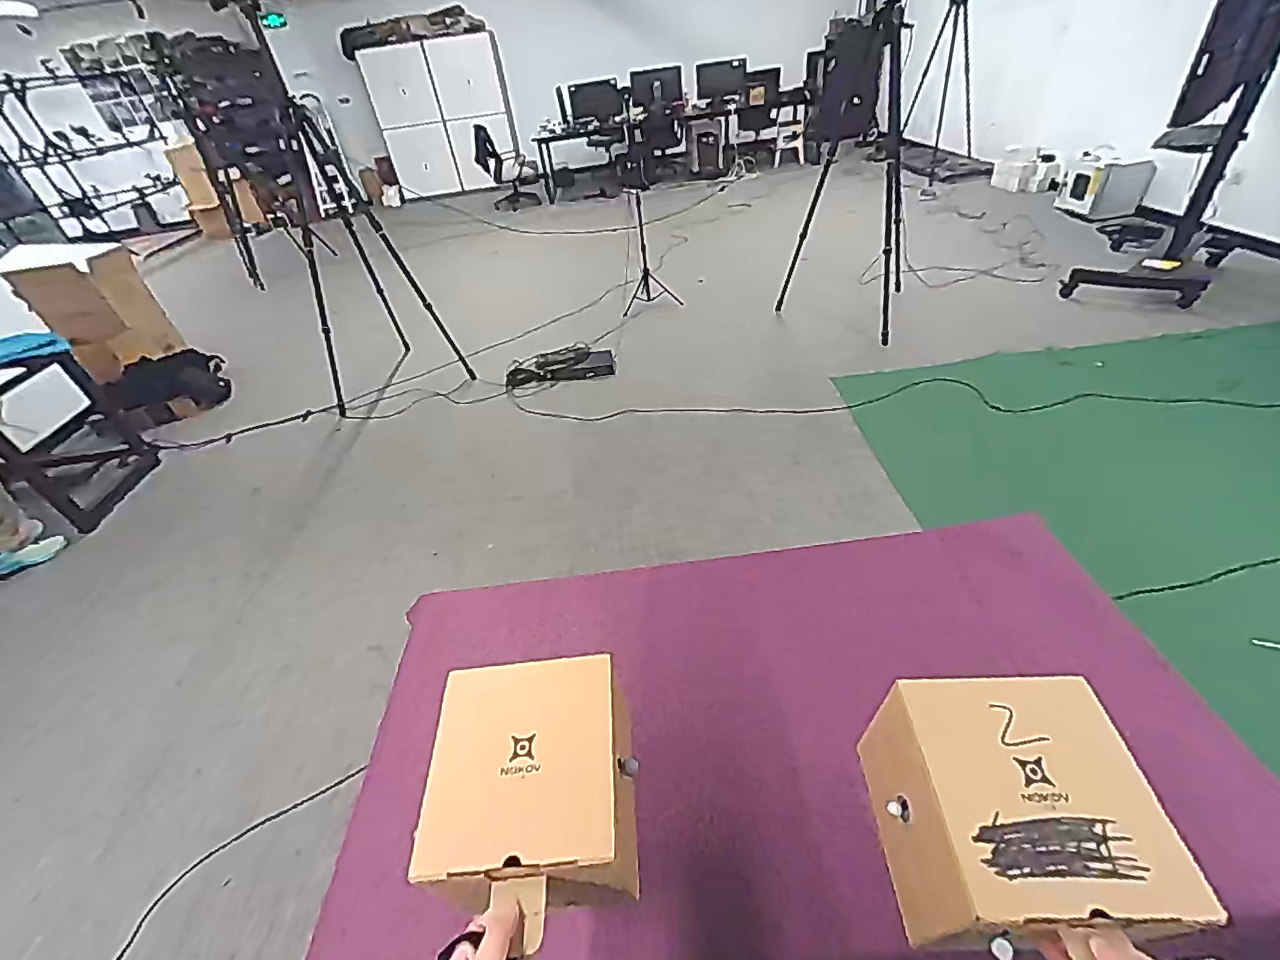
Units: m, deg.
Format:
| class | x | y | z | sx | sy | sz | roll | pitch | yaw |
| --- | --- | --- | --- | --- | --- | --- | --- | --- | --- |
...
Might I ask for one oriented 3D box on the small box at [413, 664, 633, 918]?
| class | x | y | z | sx | sy | sz | roll | pitch | yaw |
| --- | --- | --- | --- | --- | --- | --- | --- | --- | --- |
| small box | -0.100 | 0.313 | 0.546 | 0.168 | 0.176 | 0.179 | -7 | 44 | 1 |
